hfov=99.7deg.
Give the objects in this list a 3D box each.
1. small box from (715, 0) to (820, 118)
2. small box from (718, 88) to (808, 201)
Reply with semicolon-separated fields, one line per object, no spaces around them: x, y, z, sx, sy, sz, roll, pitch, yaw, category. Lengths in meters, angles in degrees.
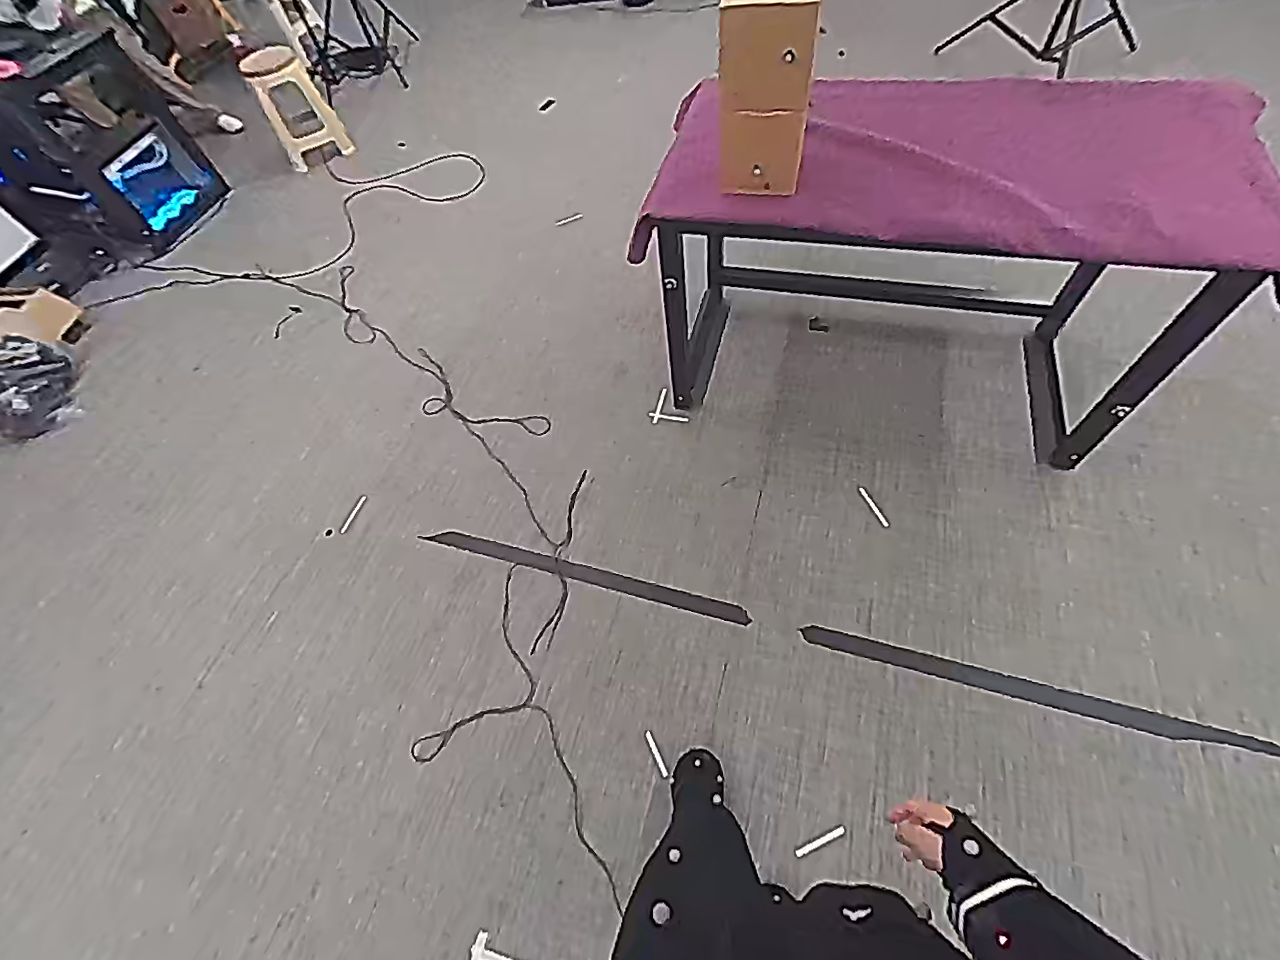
0.245;-0.828;1.047;0.179;0.176;0.168;7;57;13;small box
0.265;-0.741;1.182;0.168;0.176;0.179;8;60;13;small box
